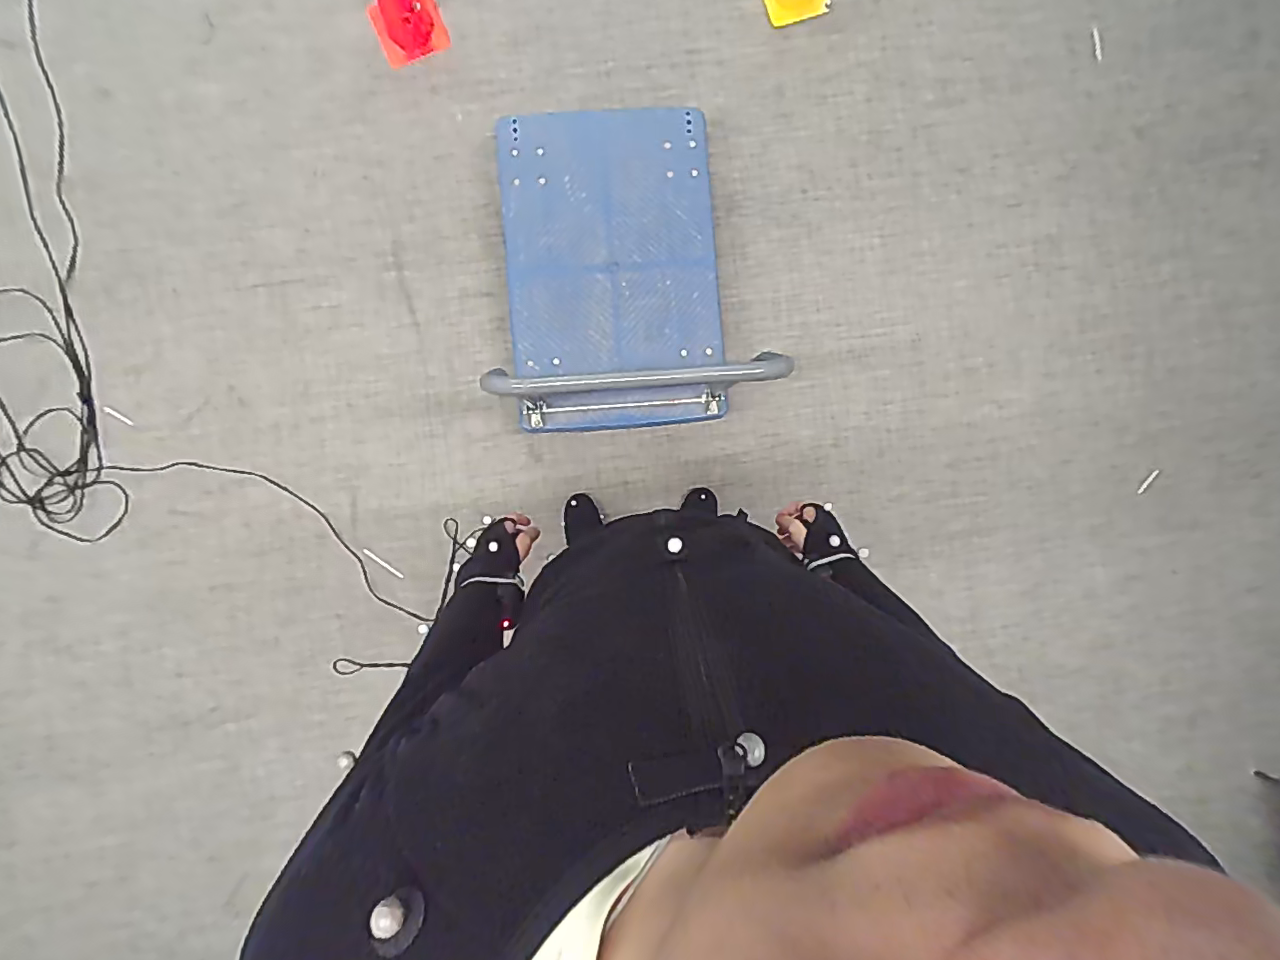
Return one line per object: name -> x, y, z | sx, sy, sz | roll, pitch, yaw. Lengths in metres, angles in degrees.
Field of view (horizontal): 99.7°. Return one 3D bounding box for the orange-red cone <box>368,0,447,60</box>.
orange-red cone -> -0.692, -1.376, 1.451 | 0.199, 0.360, 0.198 | -22, 90, -1
